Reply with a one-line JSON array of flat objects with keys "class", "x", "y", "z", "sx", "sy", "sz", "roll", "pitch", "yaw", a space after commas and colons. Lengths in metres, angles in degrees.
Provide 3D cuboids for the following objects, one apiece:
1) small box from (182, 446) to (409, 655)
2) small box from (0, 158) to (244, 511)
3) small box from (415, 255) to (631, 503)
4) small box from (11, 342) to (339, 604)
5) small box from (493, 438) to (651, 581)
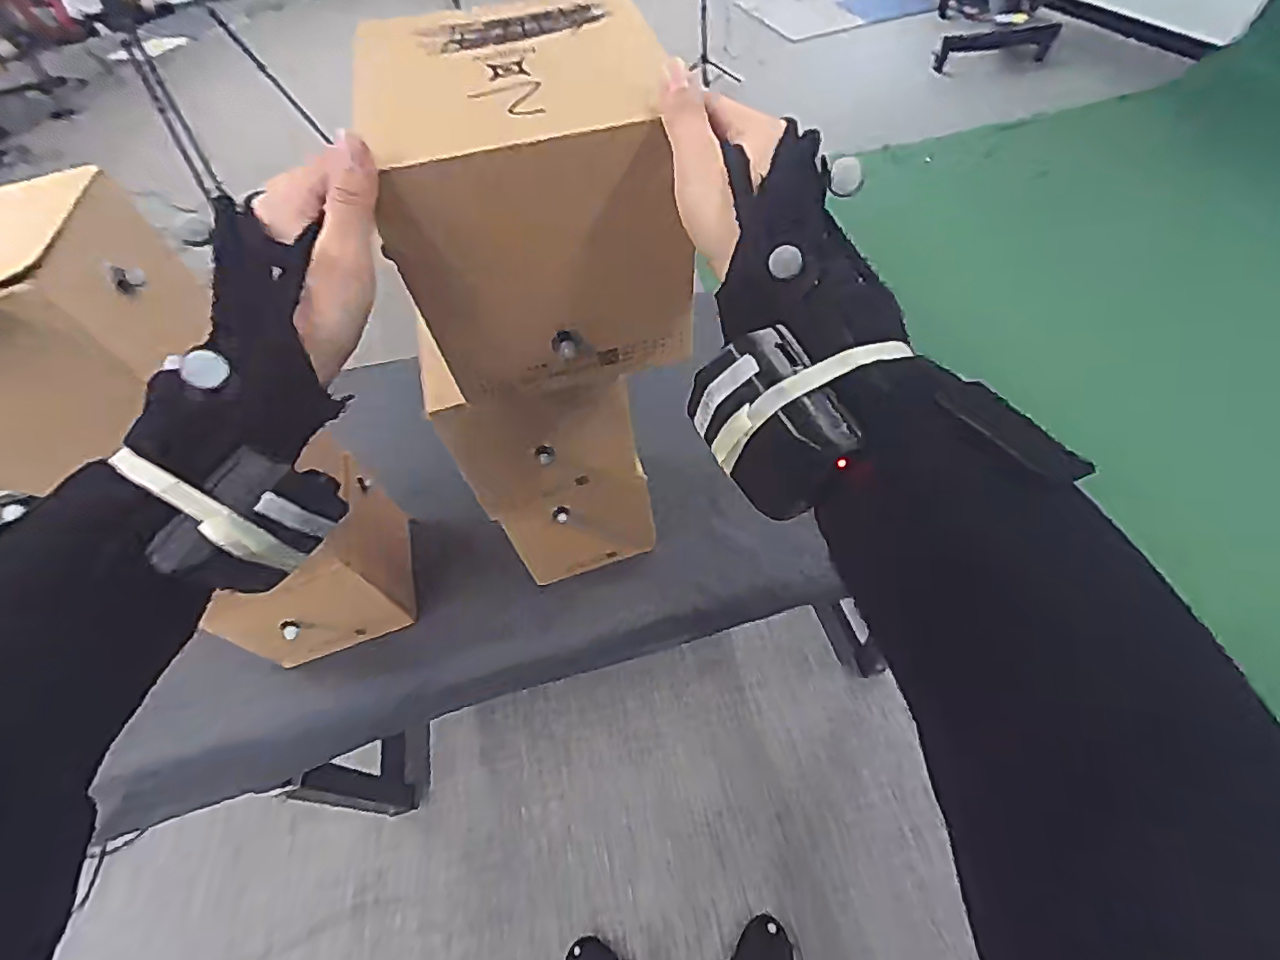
[{"class": "small box", "x": -0.400, "y": 0.095, "z": 0.661, "sx": 0.168, "sy": 0.176, "sz": 0.179, "roll": -19, "pitch": 54, "yaw": -7}, {"class": "small box", "x": -0.432, "y": -0.098, "z": 0.399, "sx": 0.168, "sy": 0.176, "sz": 0.179, "roll": -20, "pitch": 53, "yaw": -9}, {"class": "small box", "x": -0.114, "y": -0.095, "z": 0.559, "sx": 0.168, "sy": 0.176, "sz": 0.179, "roll": -17, "pitch": 54, "yaw": -7}, {"class": "small box", "x": -0.417, "y": 0.001, "z": 0.529, "sx": 0.168, "sy": 0.176, "sz": 0.179, "roll": -18, "pitch": 52, "yaw": -8}, {"class": "small box", "x": -0.092, "y": -0.001, "z": 0.694, "sx": 0.168, "sy": 0.176, "sz": 0.179, "roll": -18, "pitch": 53, "yaw": -6}]
